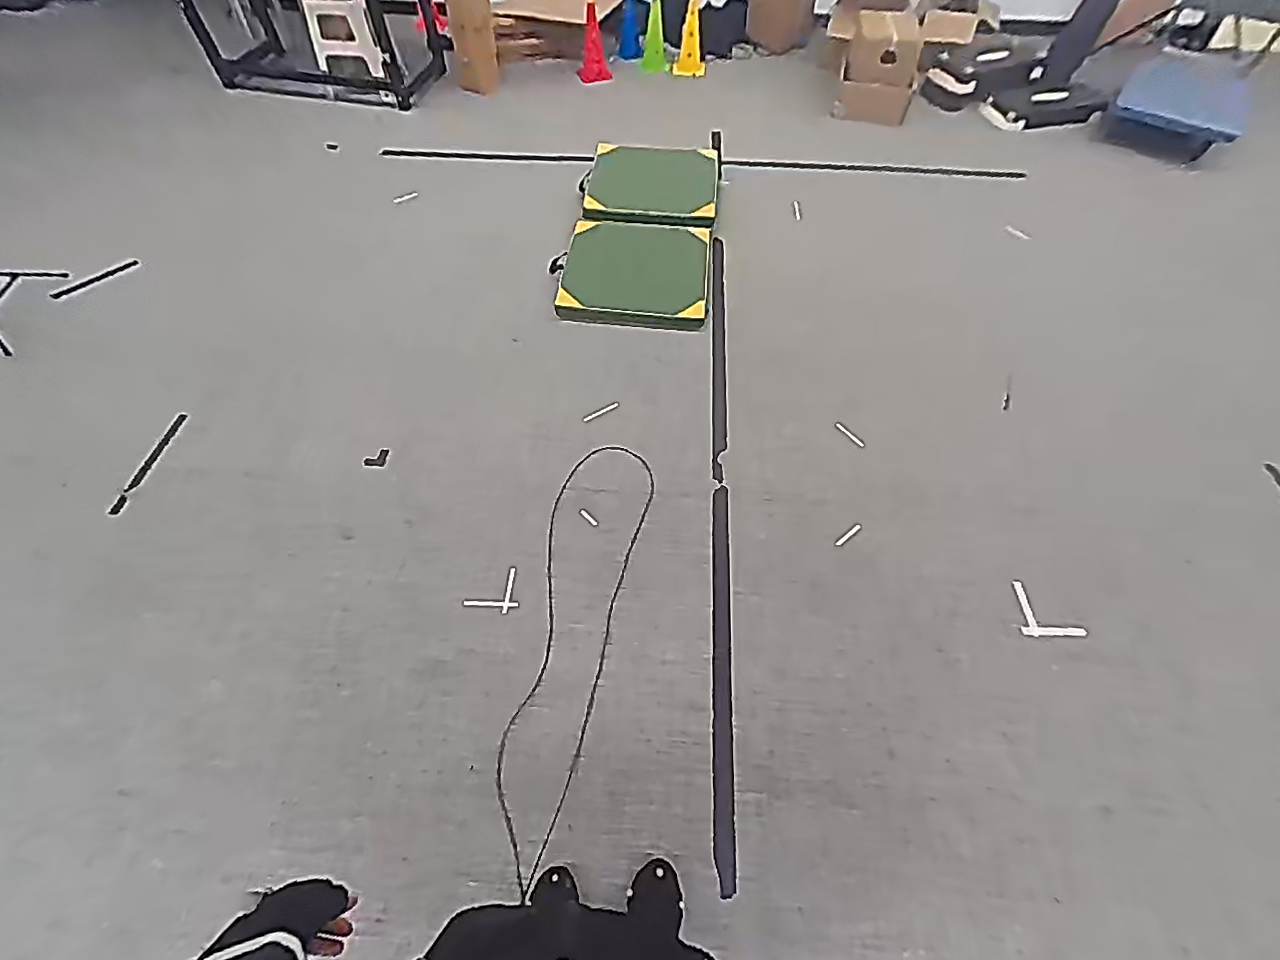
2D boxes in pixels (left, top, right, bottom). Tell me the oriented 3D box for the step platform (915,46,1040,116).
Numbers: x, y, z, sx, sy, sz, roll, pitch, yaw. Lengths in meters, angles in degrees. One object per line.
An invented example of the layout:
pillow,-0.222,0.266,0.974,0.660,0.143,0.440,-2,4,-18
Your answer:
step platform,2.025,-2.394,3.238,0.684,0.204,0.286,-21,60,-14
